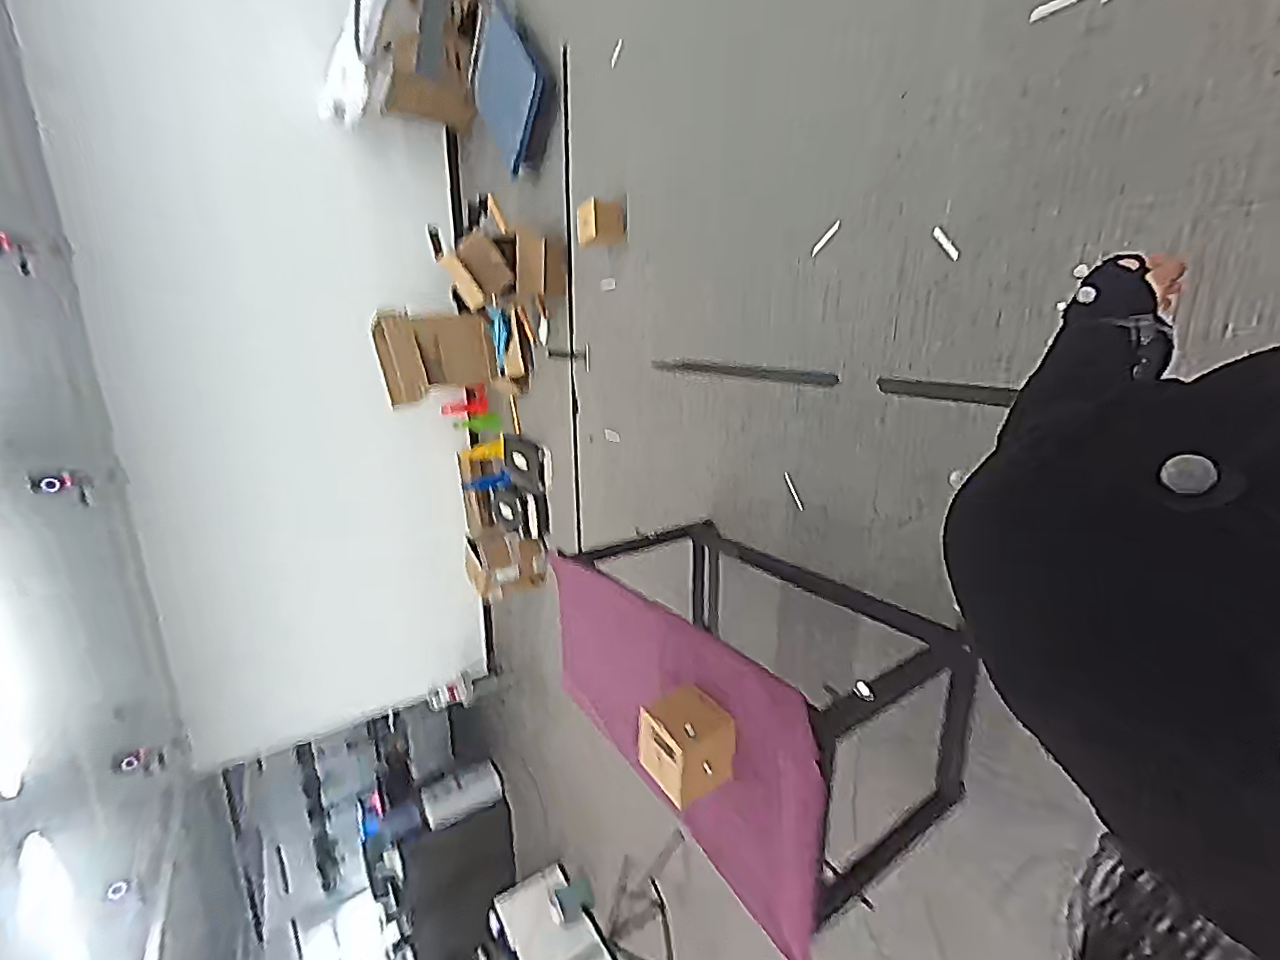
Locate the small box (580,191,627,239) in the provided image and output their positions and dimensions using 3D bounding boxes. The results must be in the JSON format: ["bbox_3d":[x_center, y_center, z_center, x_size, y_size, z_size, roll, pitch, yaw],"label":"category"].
[{"bbox_3d":[-0.174,-1.290,2.641,0.179,0.176,0.168,11,107,56],"label":"small box"}]
